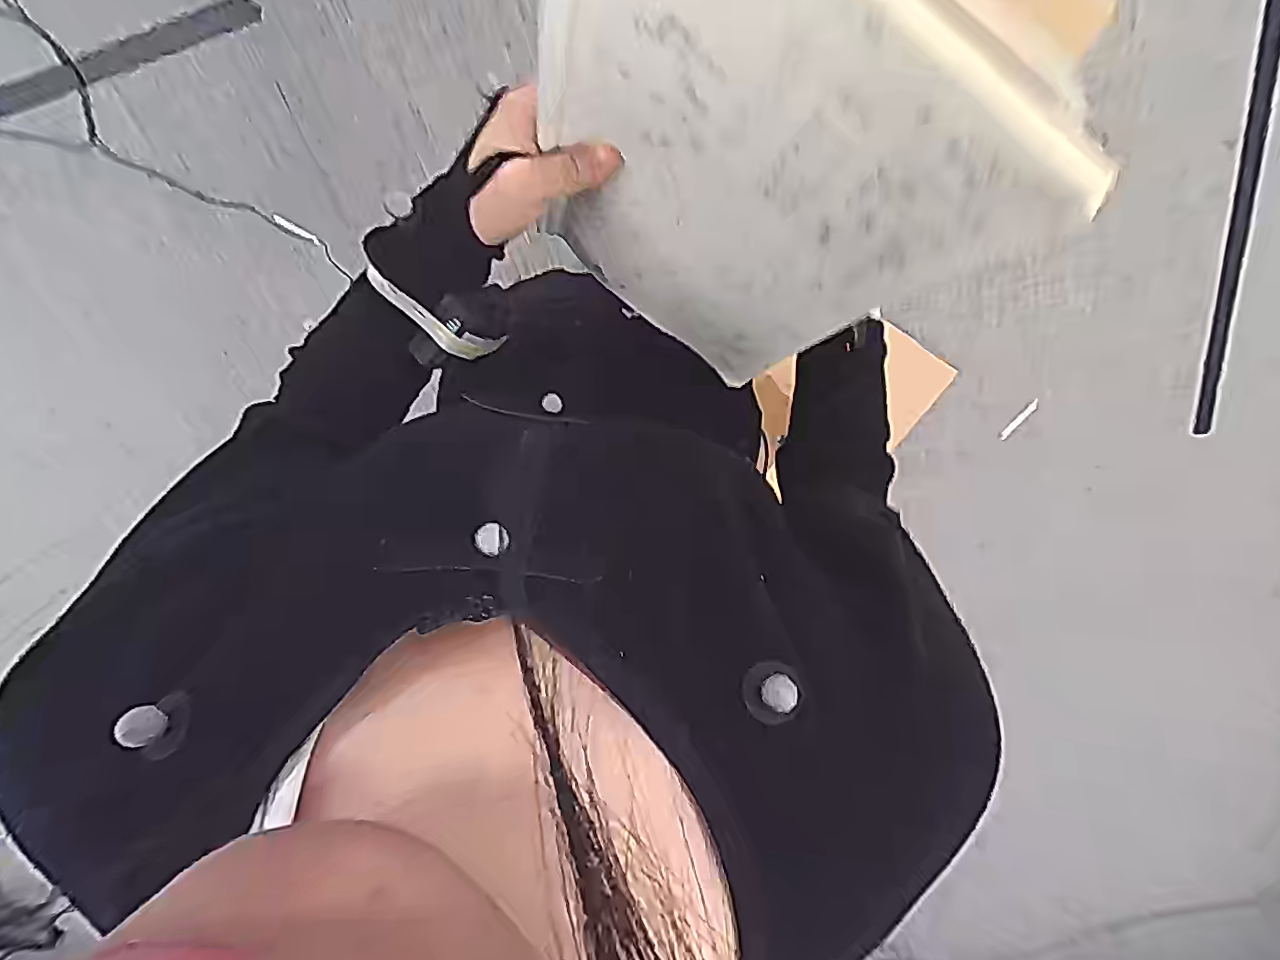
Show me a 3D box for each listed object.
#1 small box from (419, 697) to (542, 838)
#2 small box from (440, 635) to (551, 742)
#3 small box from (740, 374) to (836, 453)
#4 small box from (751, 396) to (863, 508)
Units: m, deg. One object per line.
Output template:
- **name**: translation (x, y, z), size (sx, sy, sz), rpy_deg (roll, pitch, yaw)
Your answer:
- **small box**: translation (-0.299, 0.560, 1.061), size (0.168, 0.176, 0.179), rpy_deg (-11, 118, 3)
- **small box**: translation (-0.310, 0.473, 1.201), size (0.179, 0.176, 0.168), rpy_deg (-14, 118, 4)
- **small box**: translation (0.378, -0.149, 1.424), size (0.168, 0.176, 0.179), rpy_deg (25, 116, -14)
- **small box**: translation (0.382, -0.072, 1.279), size (0.168, 0.176, 0.179), rpy_deg (26, 115, -14)
